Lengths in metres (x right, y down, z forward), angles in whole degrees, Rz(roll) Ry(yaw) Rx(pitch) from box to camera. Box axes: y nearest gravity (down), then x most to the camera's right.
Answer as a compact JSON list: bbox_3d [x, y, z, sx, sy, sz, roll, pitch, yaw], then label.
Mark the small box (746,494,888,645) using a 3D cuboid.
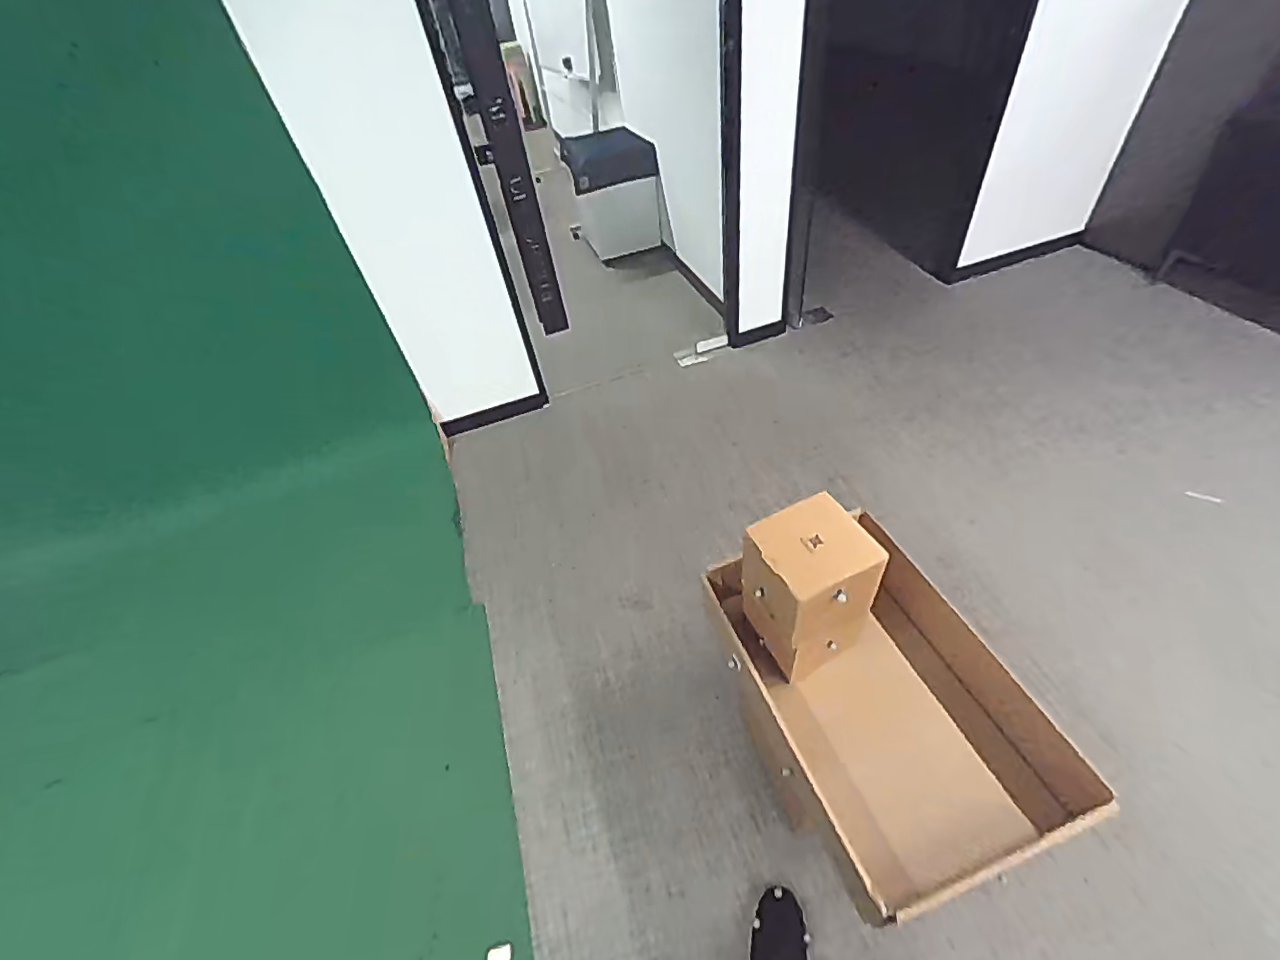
[{"bbox_3d":[0.302,0.161,0.967,0.179,0.176,0.168,-23,48,-11],"label":"small box"}]
